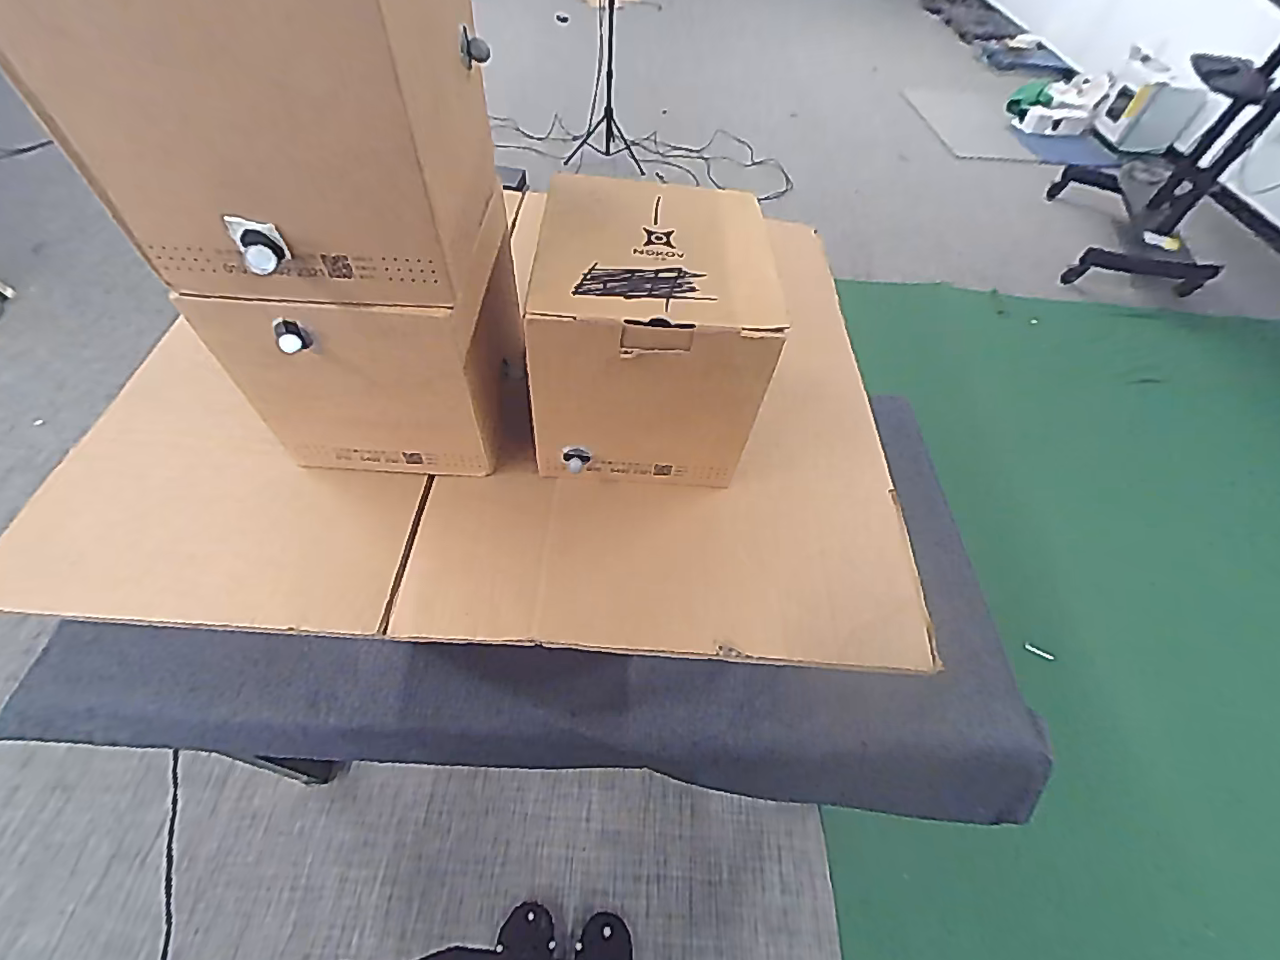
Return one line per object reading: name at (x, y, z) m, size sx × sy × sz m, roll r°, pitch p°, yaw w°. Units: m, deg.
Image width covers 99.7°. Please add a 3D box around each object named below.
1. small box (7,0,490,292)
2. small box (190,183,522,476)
small box at (-0.187, -0.232, 0.303) m, size 0.168 × 0.176 × 0.179 m, roll 0°, pitch 56°, yaw -4°
small box at (-0.198, -0.126, 0.446) m, size 0.168 × 0.176 × 0.179 m, roll 3°, pitch 53°, yaw -1°
